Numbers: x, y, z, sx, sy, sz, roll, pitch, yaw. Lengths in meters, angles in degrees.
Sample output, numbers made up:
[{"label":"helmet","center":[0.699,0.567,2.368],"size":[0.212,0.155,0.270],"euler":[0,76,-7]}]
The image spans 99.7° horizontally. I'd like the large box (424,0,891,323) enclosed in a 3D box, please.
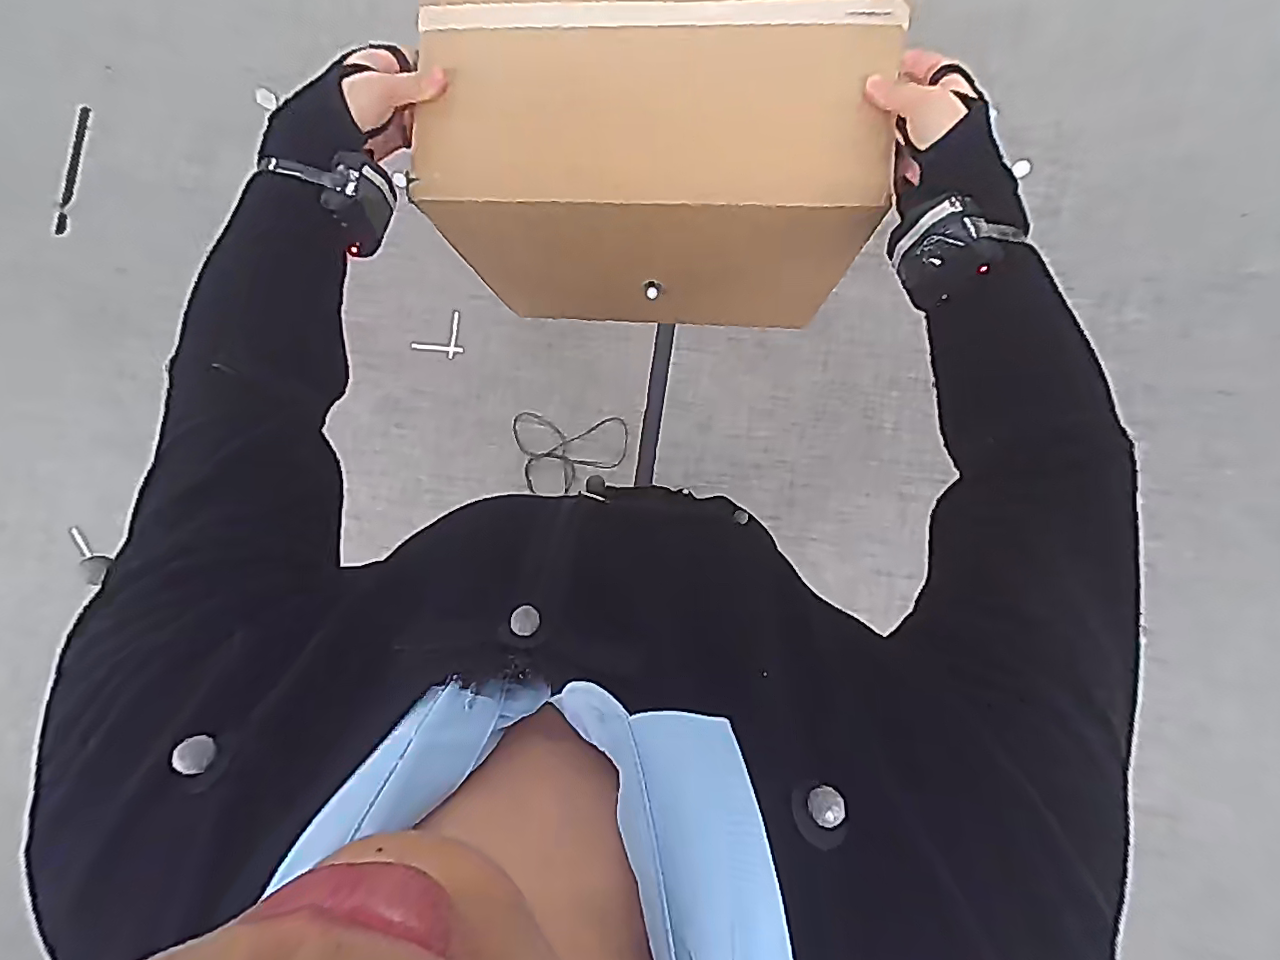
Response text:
[{"label":"large box","center":[0.027,-0.377,0.614],"size":[0.408,0.320,0.320],"euler":[3,87,6]}]
